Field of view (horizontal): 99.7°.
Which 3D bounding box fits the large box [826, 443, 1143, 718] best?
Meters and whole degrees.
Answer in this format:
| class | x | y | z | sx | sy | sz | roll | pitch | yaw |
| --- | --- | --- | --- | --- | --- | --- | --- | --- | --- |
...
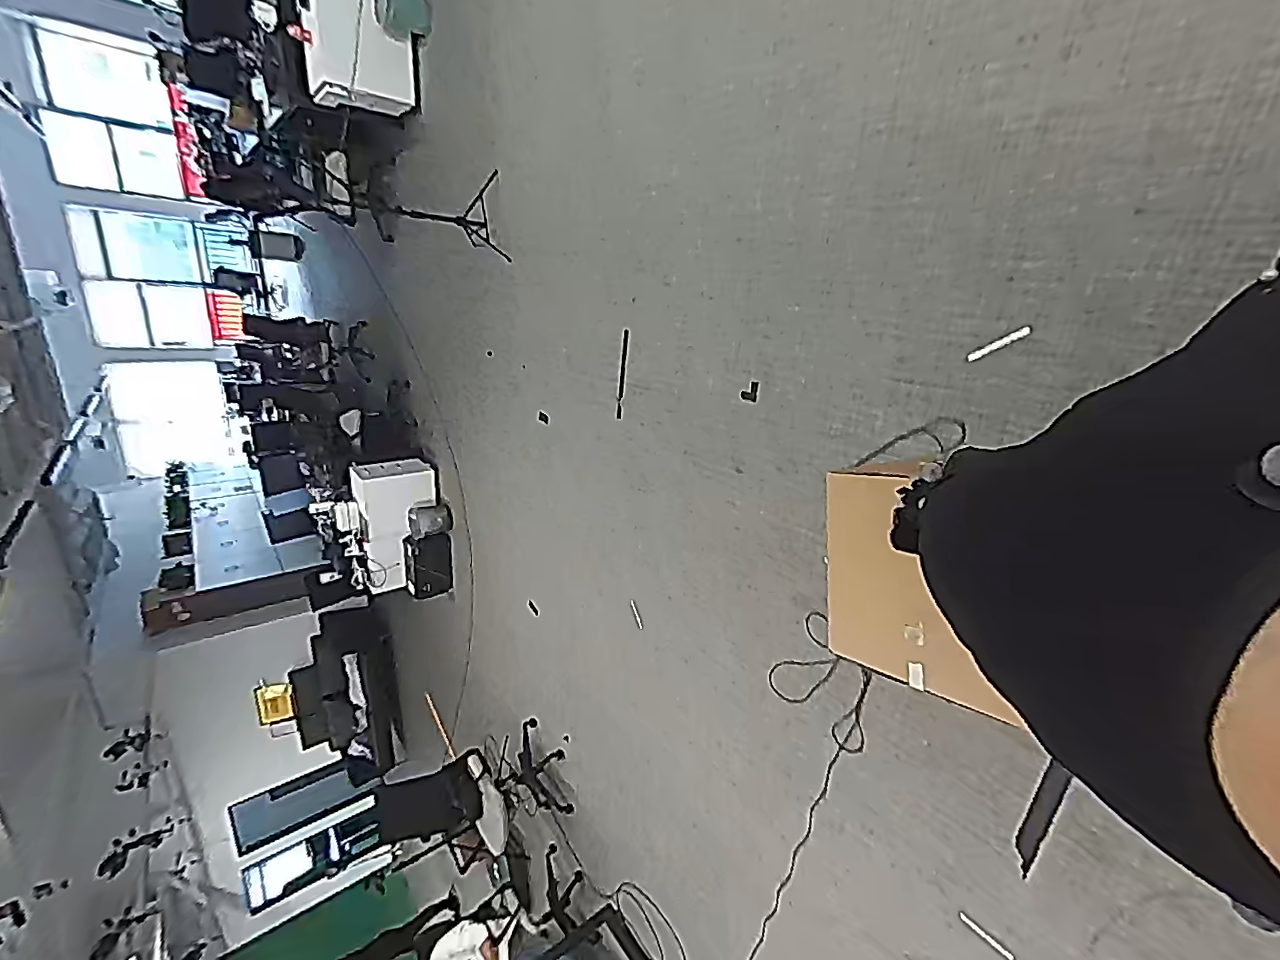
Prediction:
| class | x | y | z | sx | sy | sz | roll | pitch | yaw |
| --- | --- | --- | --- | --- | --- | --- | --- | --- | --- |
| large box | 0.555 | 0.115 | 0.881 | 0.320 | 0.408 | 0.320 | 6 | 102 | 56 |
